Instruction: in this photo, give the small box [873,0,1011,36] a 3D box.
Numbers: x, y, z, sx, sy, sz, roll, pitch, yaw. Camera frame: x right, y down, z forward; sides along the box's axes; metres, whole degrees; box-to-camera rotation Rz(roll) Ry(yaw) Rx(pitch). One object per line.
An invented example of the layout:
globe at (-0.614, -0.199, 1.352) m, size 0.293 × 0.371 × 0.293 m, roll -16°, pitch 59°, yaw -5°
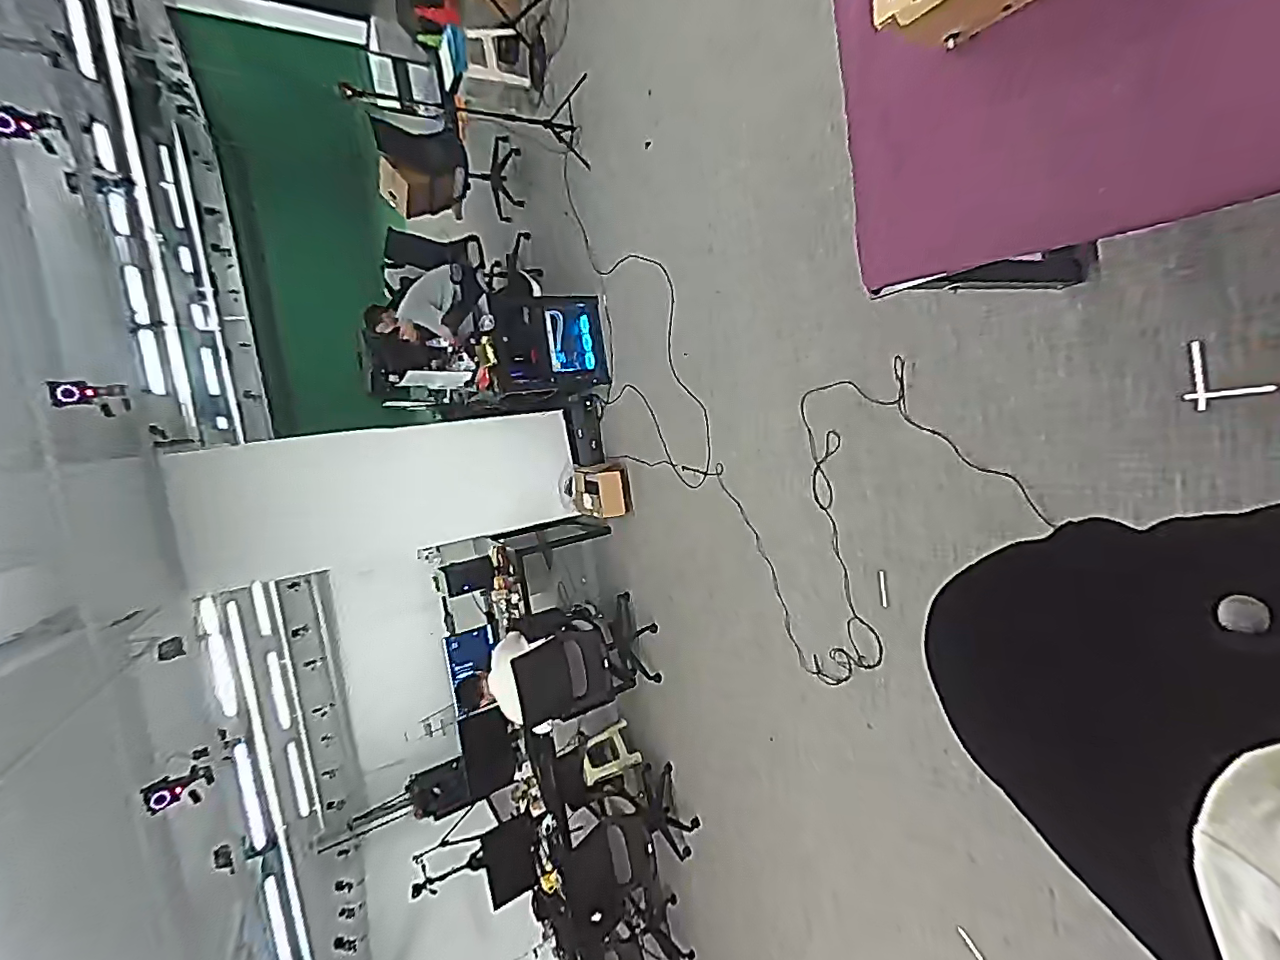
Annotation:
small box at (0.435, -0.739, 0.722) m, size 0.168 × 0.176 × 0.179 m, roll 11°, pitch 110°, yaw 58°
